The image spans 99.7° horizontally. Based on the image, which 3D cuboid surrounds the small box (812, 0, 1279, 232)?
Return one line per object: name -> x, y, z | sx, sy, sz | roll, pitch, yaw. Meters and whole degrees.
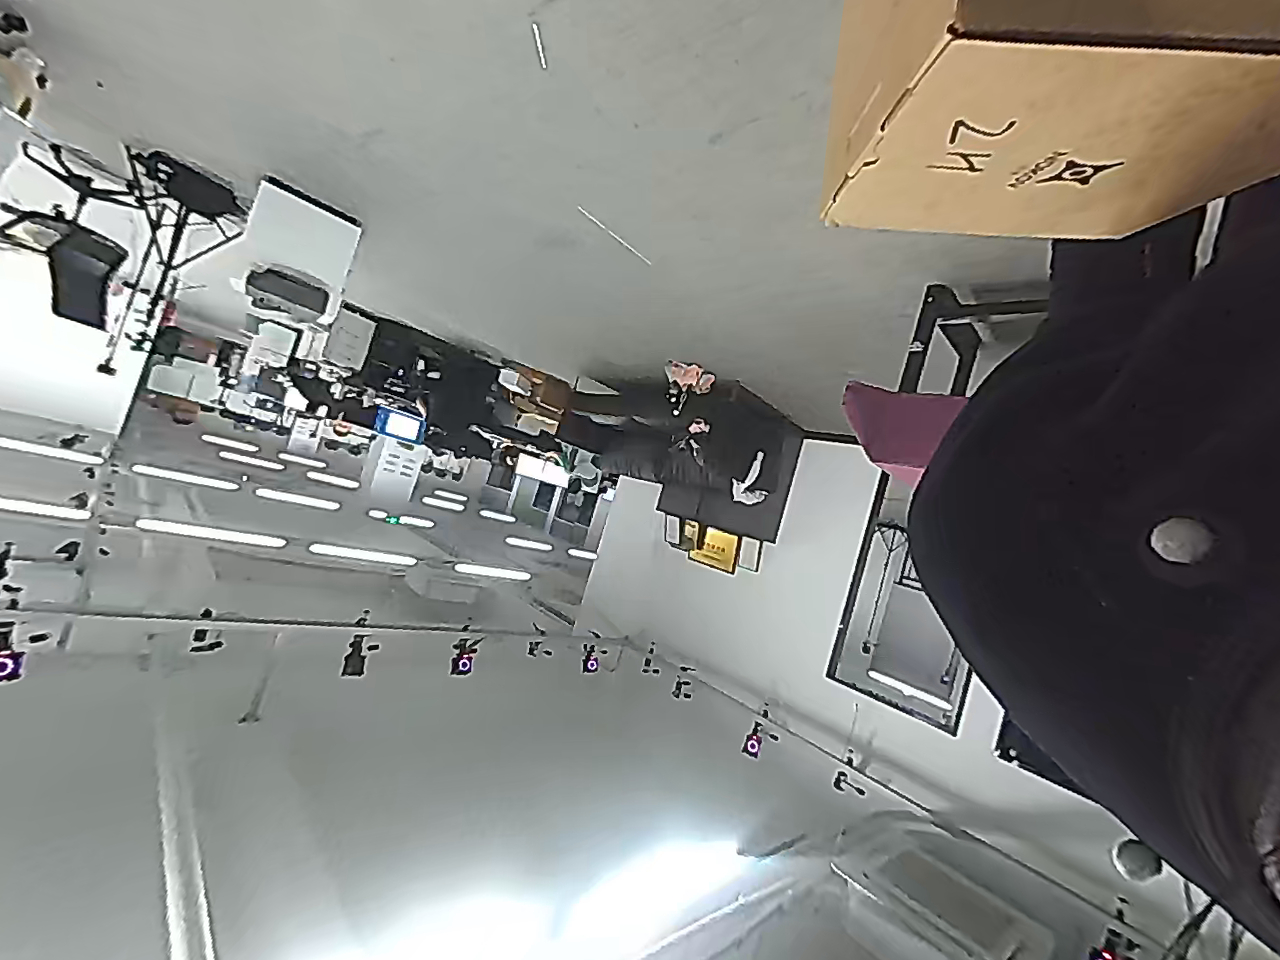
small box -> 0.190, -0.223, 0.225 | 0.179, 0.176, 0.168 | 6, -174, 2
